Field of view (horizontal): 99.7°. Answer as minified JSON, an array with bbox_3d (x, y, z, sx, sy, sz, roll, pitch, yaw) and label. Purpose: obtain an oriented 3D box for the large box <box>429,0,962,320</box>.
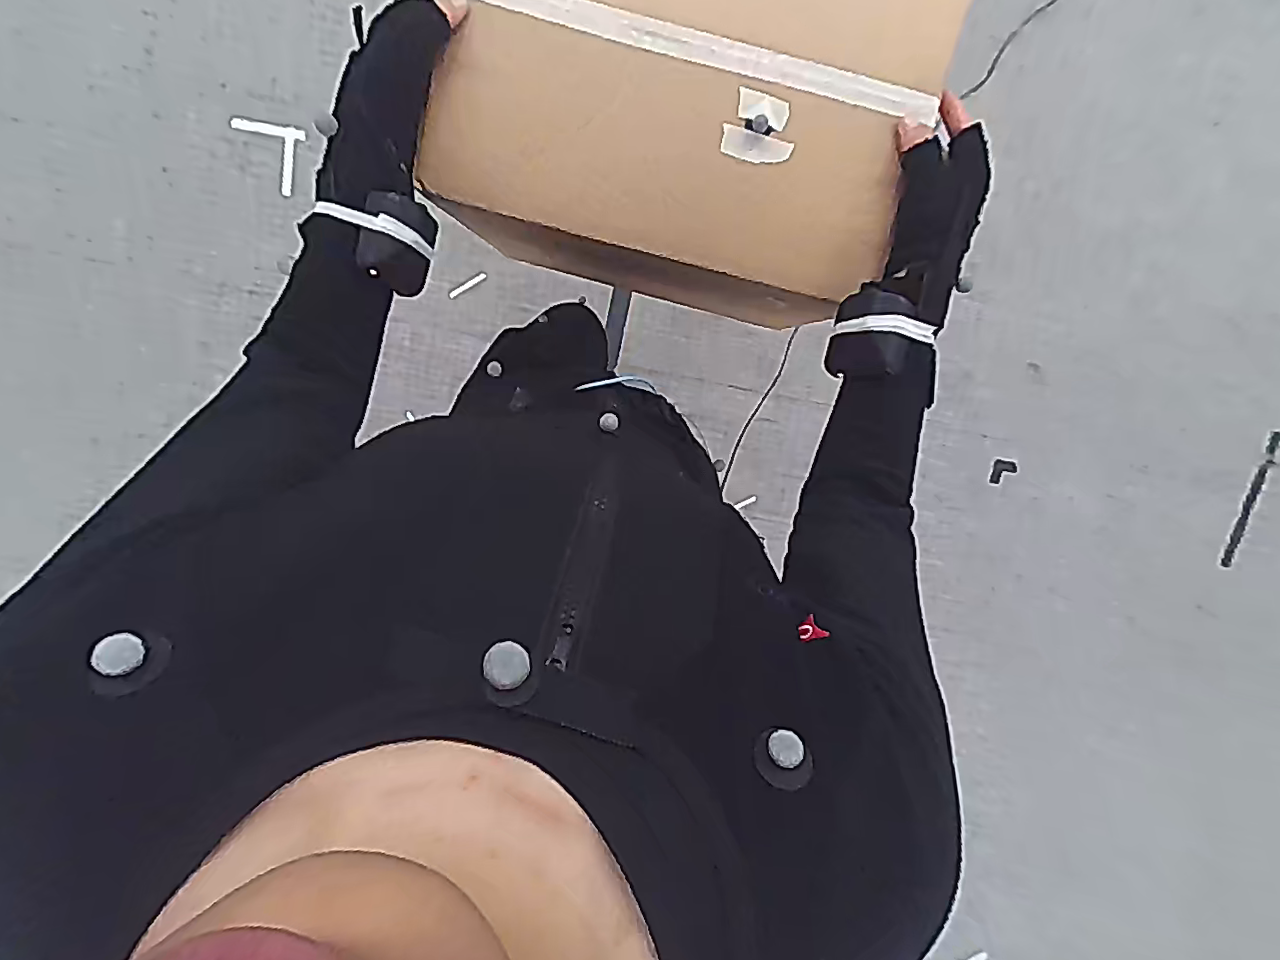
[{"bbox_3d":[0.042,-0.379,0.583,0.408,0.320,0.320,13,104,-4],"label":"large box"}]
